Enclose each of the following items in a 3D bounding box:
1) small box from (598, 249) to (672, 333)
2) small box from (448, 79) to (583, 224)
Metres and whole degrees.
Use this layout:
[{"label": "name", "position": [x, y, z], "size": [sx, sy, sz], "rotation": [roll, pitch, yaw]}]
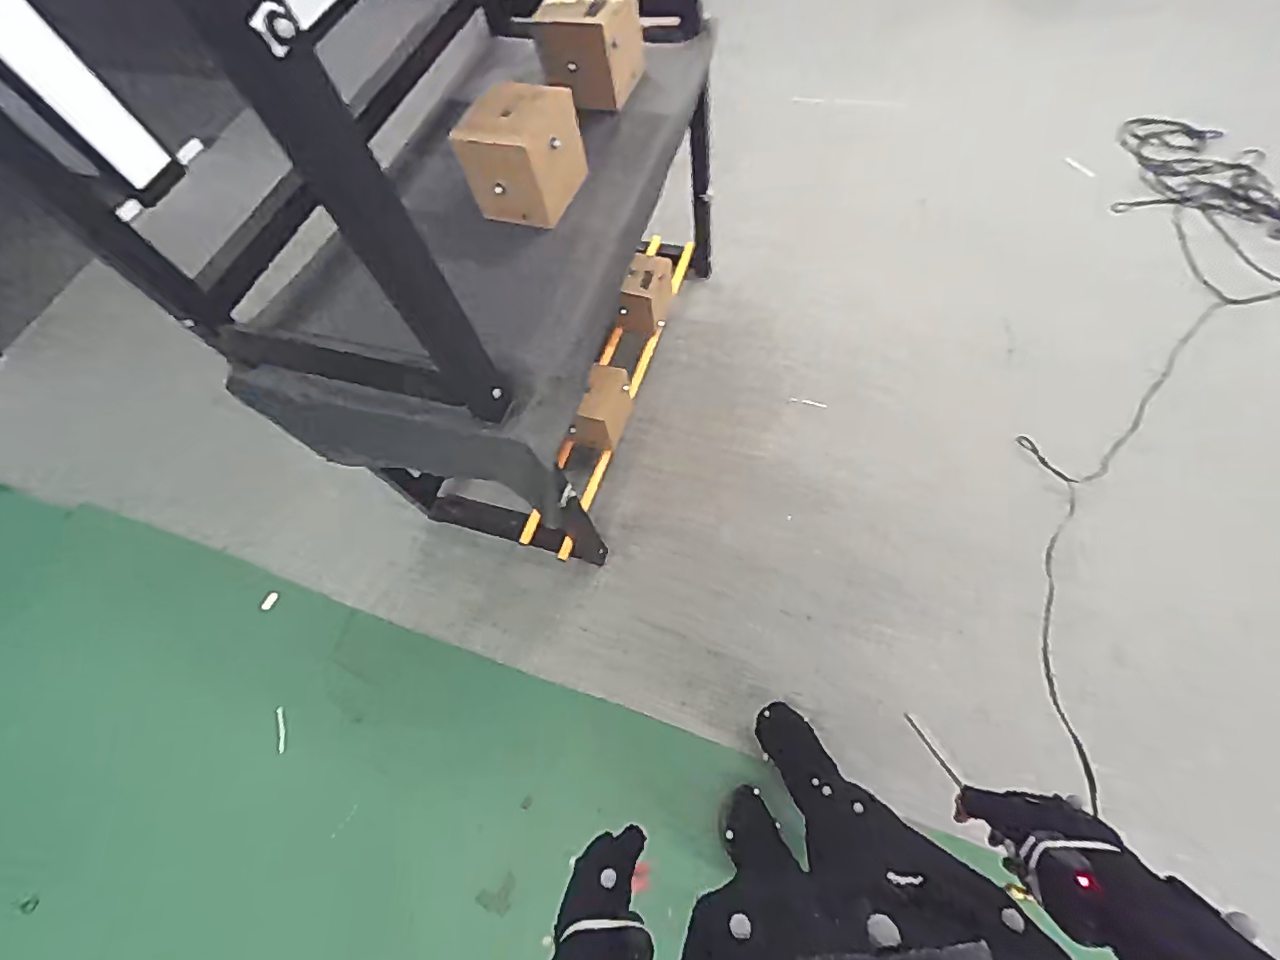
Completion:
[{"label": "small box", "position": [-0.009, -0.583, 1.685], "size": [0.179, 0.176, 0.168], "rotation": [17, 67, 16]}, {"label": "small box", "position": [-0.224, -0.622, 1.033], "size": [0.168, 0.176, 0.179], "rotation": [17, 67, 16]}]
